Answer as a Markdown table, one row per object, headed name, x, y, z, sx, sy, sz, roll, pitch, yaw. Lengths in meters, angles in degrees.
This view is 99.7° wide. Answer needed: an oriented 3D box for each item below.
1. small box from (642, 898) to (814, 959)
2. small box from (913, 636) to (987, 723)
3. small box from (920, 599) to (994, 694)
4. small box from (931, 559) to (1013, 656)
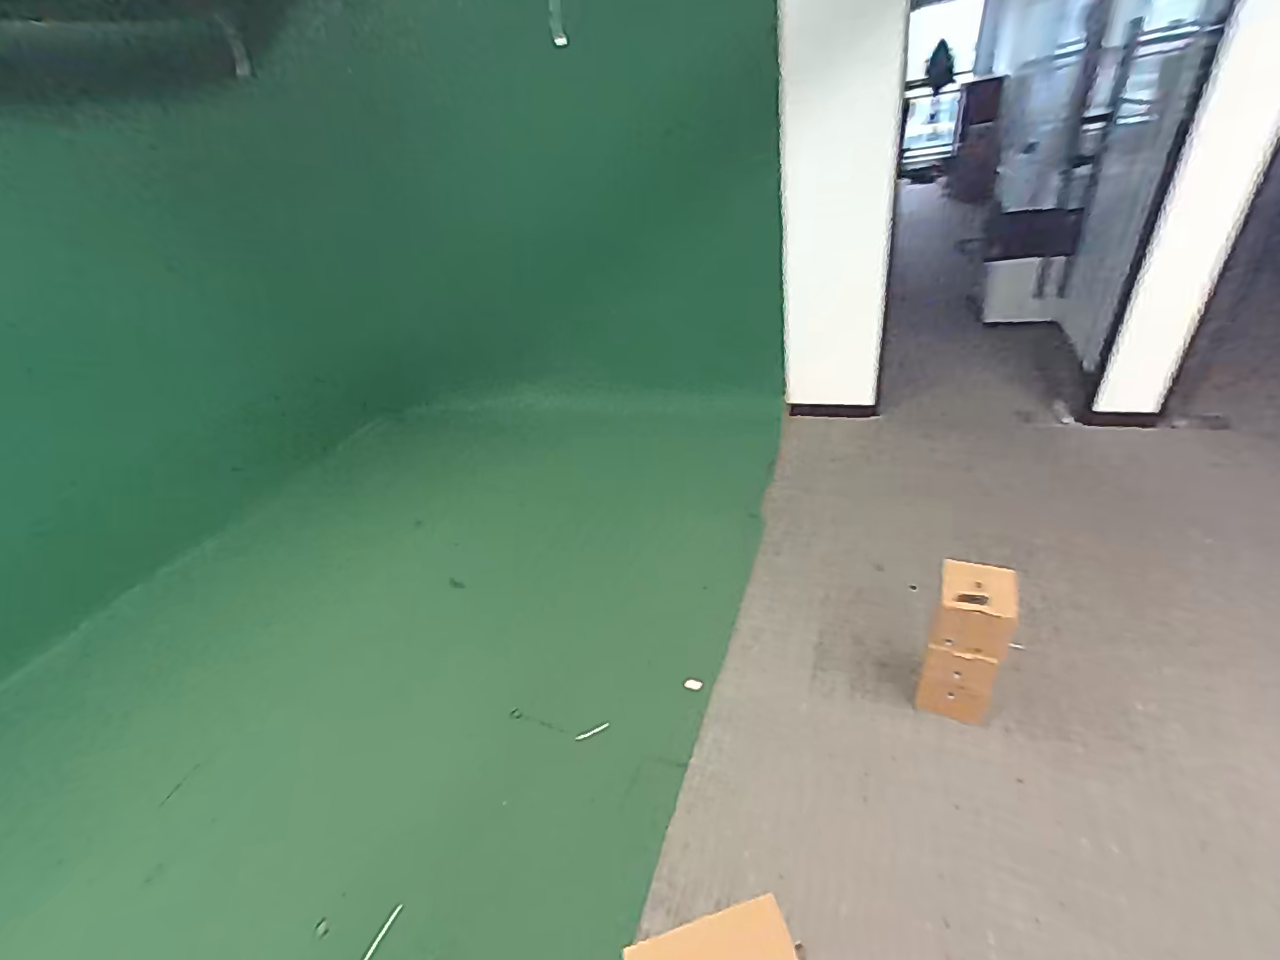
| name | x | y | z | sx | sy | sz | roll | pitch | yaw |
| --- | --- | --- | --- | --- | --- | --- | --- | --- | --- |
| small box | 0.102 | 0.555 | 0.527 | 0.168 | 0.176 | 0.179 | -12 | 35 | 0 |
| small box | 0.942 | 0.606 | 1.643 | 0.179 | 0.176 | 0.168 | 9 | 41 | 27 |
| small box | 0.907 | 0.478 | 1.548 | 0.168 | 0.176 | 0.179 | 9 | 42 | 27 |
| small box | 0.889 | 0.343 | 1.454 | 0.168 | 0.176 | 0.179 | 8 | 40 | 26 |
